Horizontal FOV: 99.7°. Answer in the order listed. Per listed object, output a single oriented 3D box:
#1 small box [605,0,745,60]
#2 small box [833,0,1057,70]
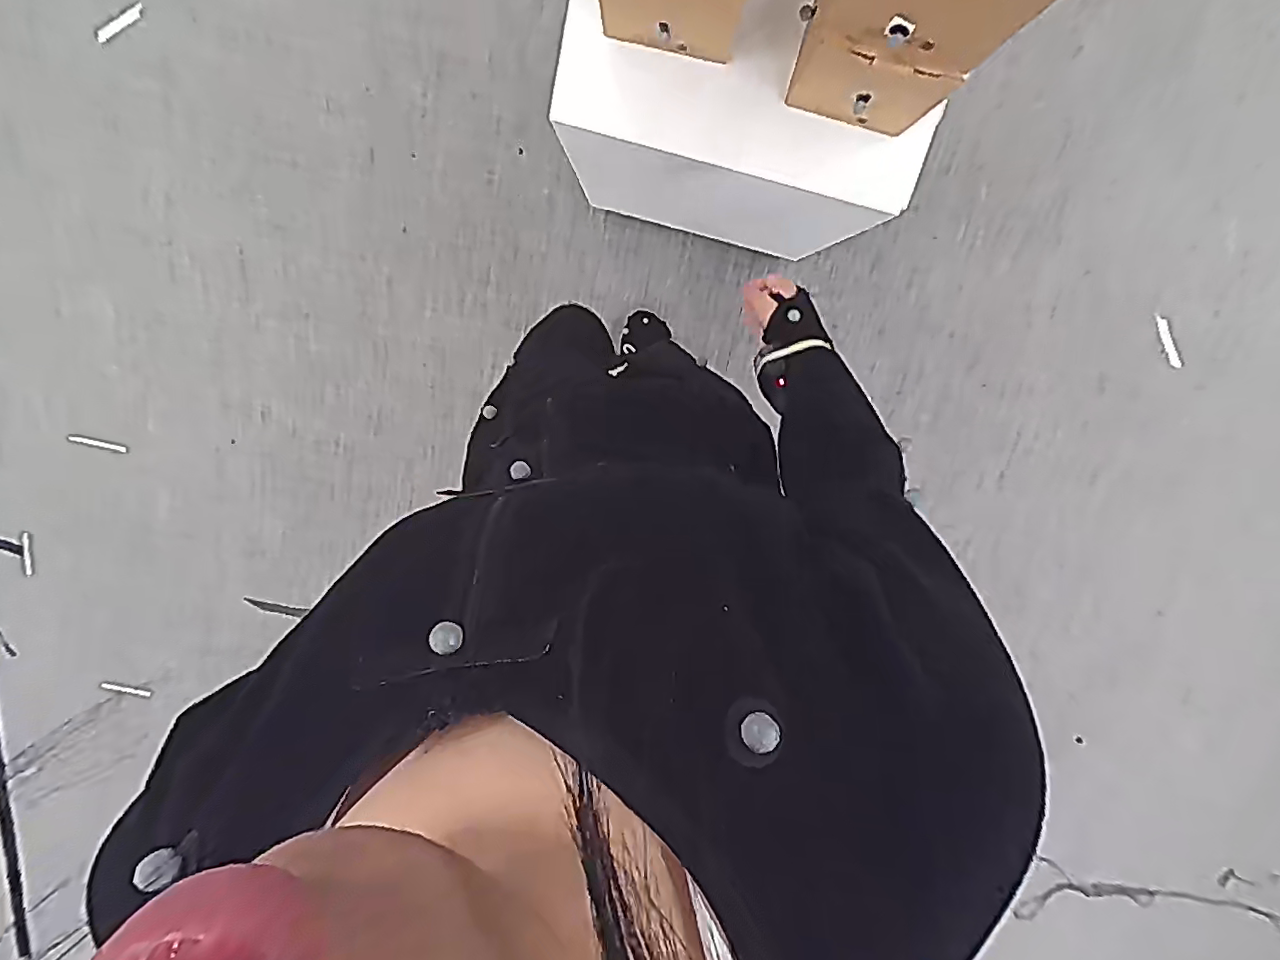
[{"bbox_3d":[0.050,-0.626,0.608,0.168,0.176,0.179,11,106,-3],"label":"small box"},{"bbox_3d":[0.291,-0.510,0.469,0.168,0.176,0.179,15,106,-2],"label":"small box"}]
